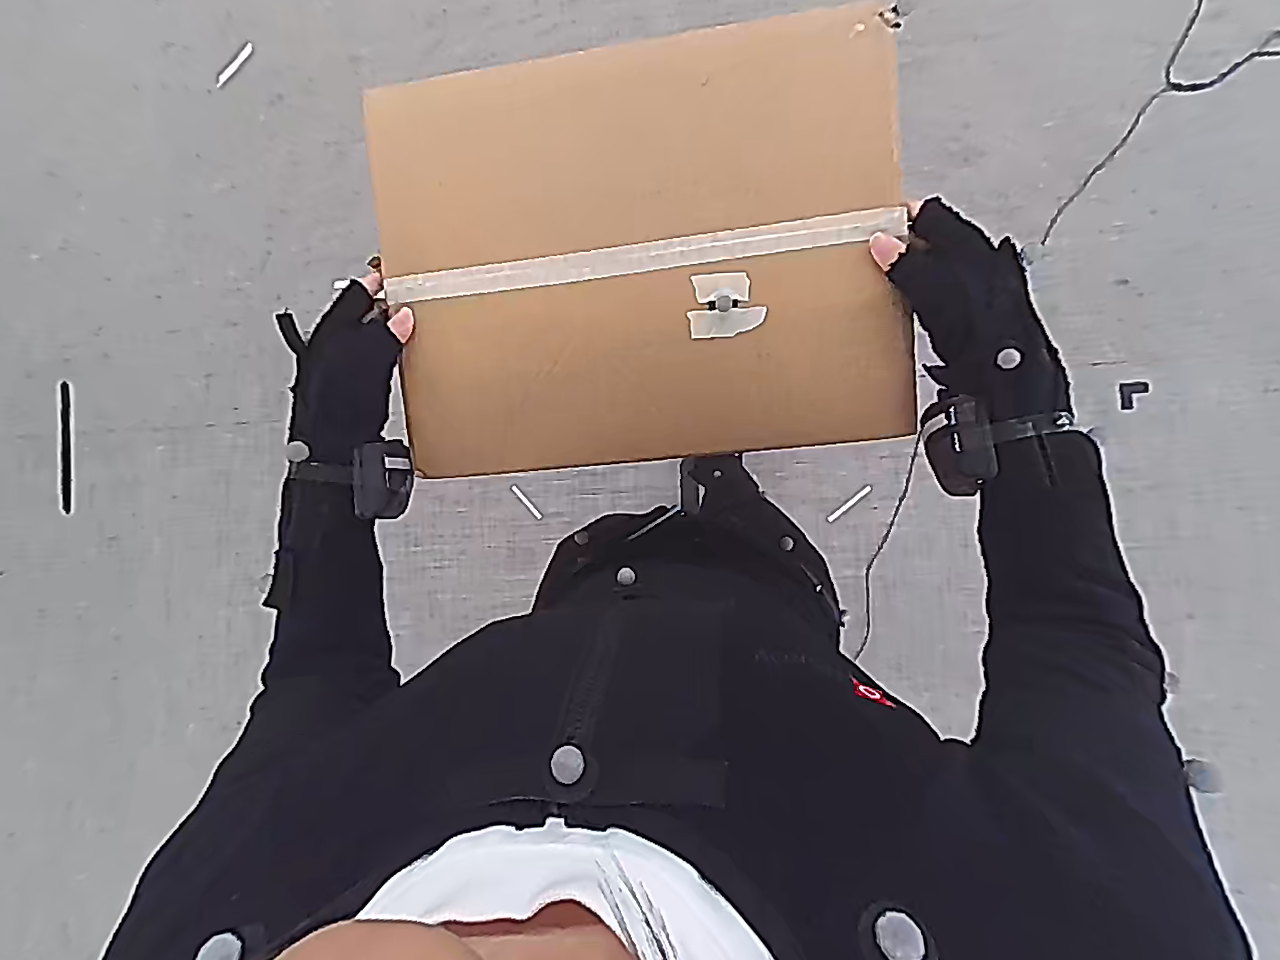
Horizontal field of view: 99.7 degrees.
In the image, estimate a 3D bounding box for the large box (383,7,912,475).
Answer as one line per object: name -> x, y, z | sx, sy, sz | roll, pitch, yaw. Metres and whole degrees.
large box -> 0.014, -0.191, 0.580 | 0.408, 0.320, 0.320 | -6, 96, 6
